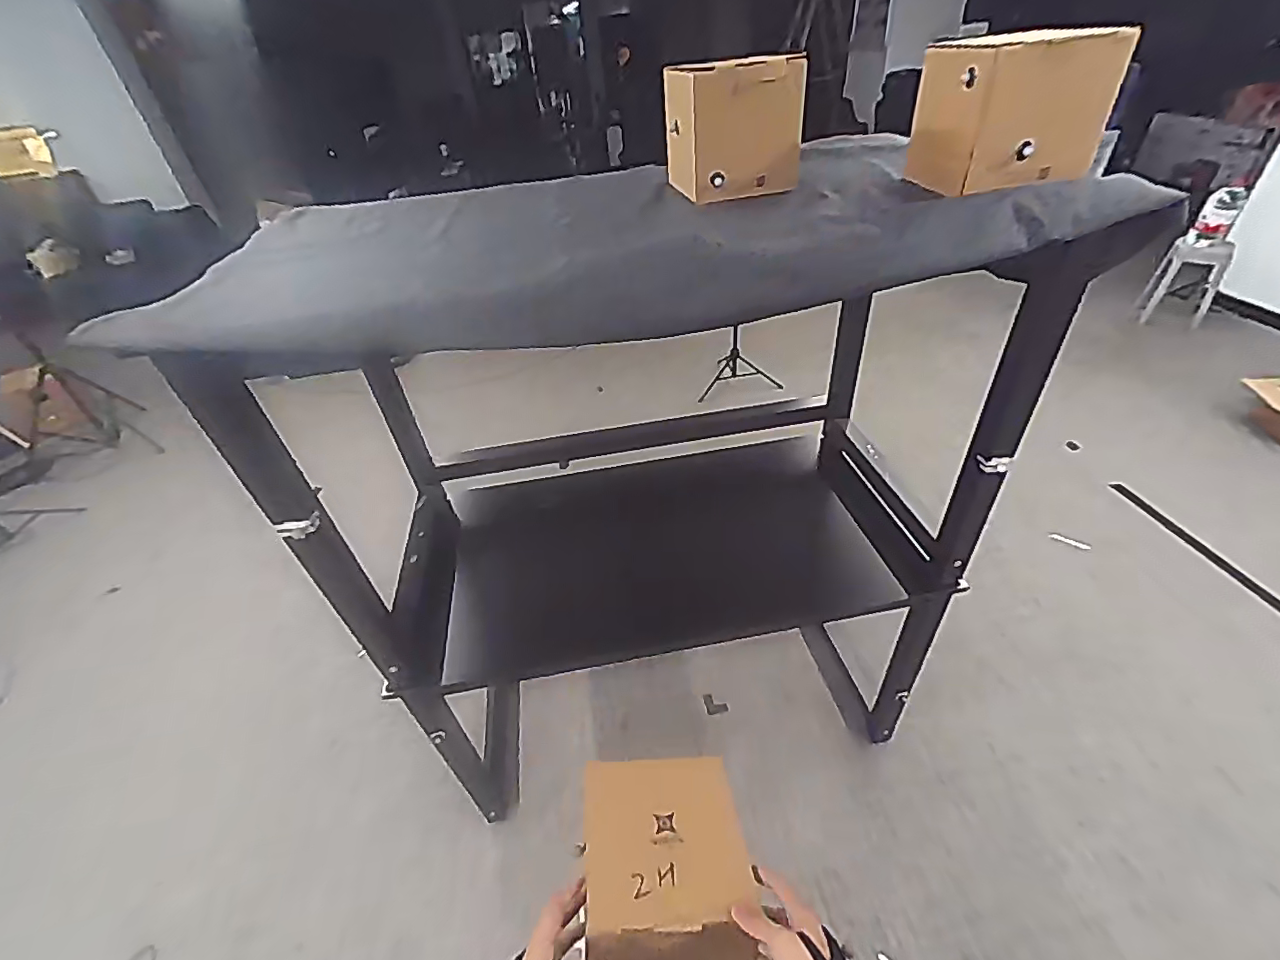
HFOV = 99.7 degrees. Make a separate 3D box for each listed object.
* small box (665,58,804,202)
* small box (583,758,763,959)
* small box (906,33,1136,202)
[{"bbox_3d":[0.143,-0.551,0.857,0.168,0.176,0.179,-11,39,-6],"label":"small box"},{"bbox_3d":[0.022,0.442,0.600,0.168,0.176,0.179,1,24,-6],"label":"small box"},{"bbox_3d":[0.491,-0.490,0.736,0.168,0.176,0.179,-7,39,0],"label":"small box"}]
